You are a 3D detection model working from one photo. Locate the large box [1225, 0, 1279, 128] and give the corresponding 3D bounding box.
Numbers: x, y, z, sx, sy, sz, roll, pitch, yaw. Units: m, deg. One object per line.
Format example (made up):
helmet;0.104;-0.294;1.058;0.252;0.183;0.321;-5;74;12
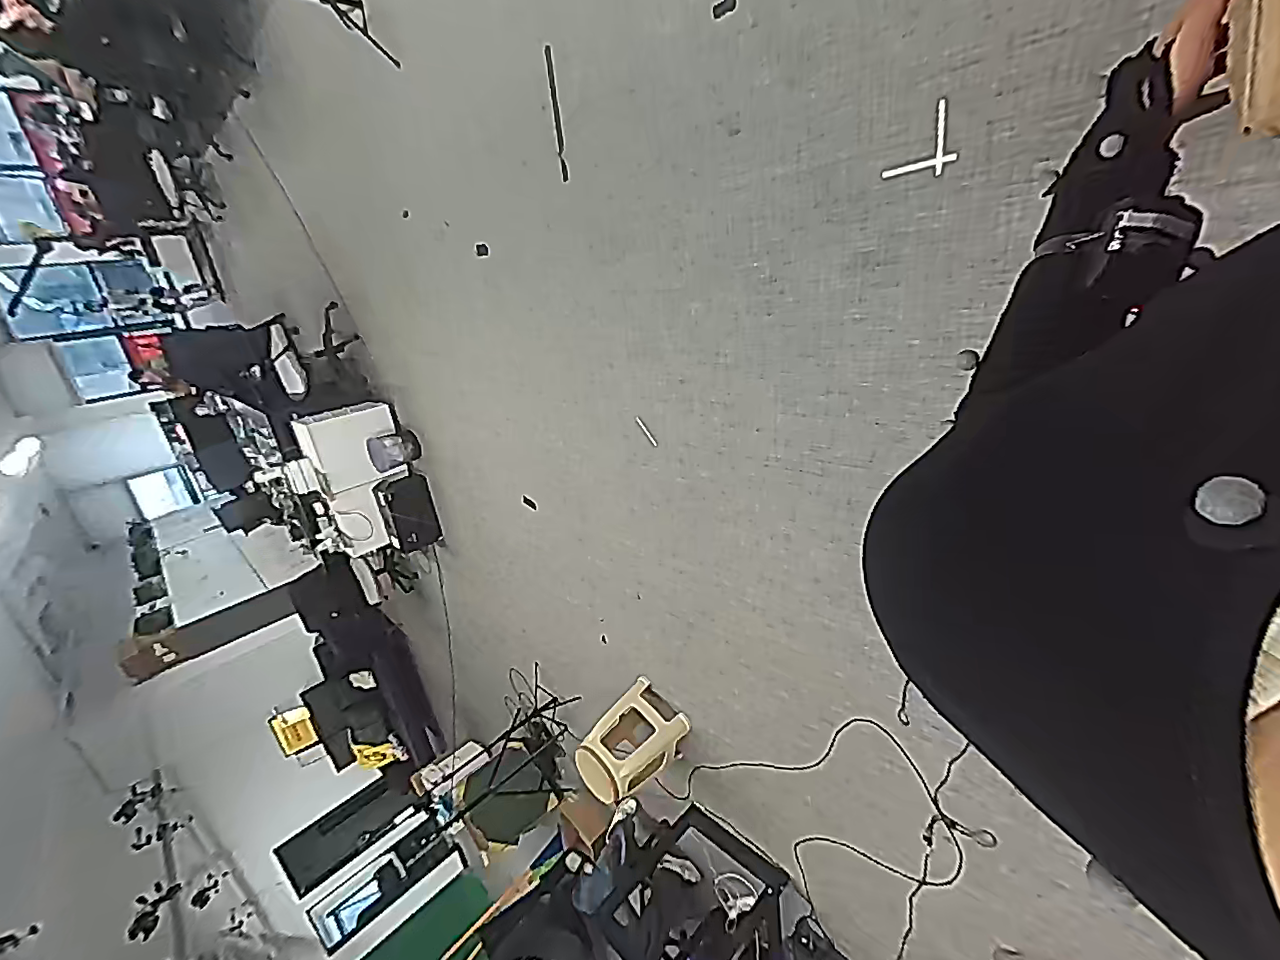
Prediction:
large box;0.430;-0.346;0.117;0.408;0.320;0.320;3;125;44
